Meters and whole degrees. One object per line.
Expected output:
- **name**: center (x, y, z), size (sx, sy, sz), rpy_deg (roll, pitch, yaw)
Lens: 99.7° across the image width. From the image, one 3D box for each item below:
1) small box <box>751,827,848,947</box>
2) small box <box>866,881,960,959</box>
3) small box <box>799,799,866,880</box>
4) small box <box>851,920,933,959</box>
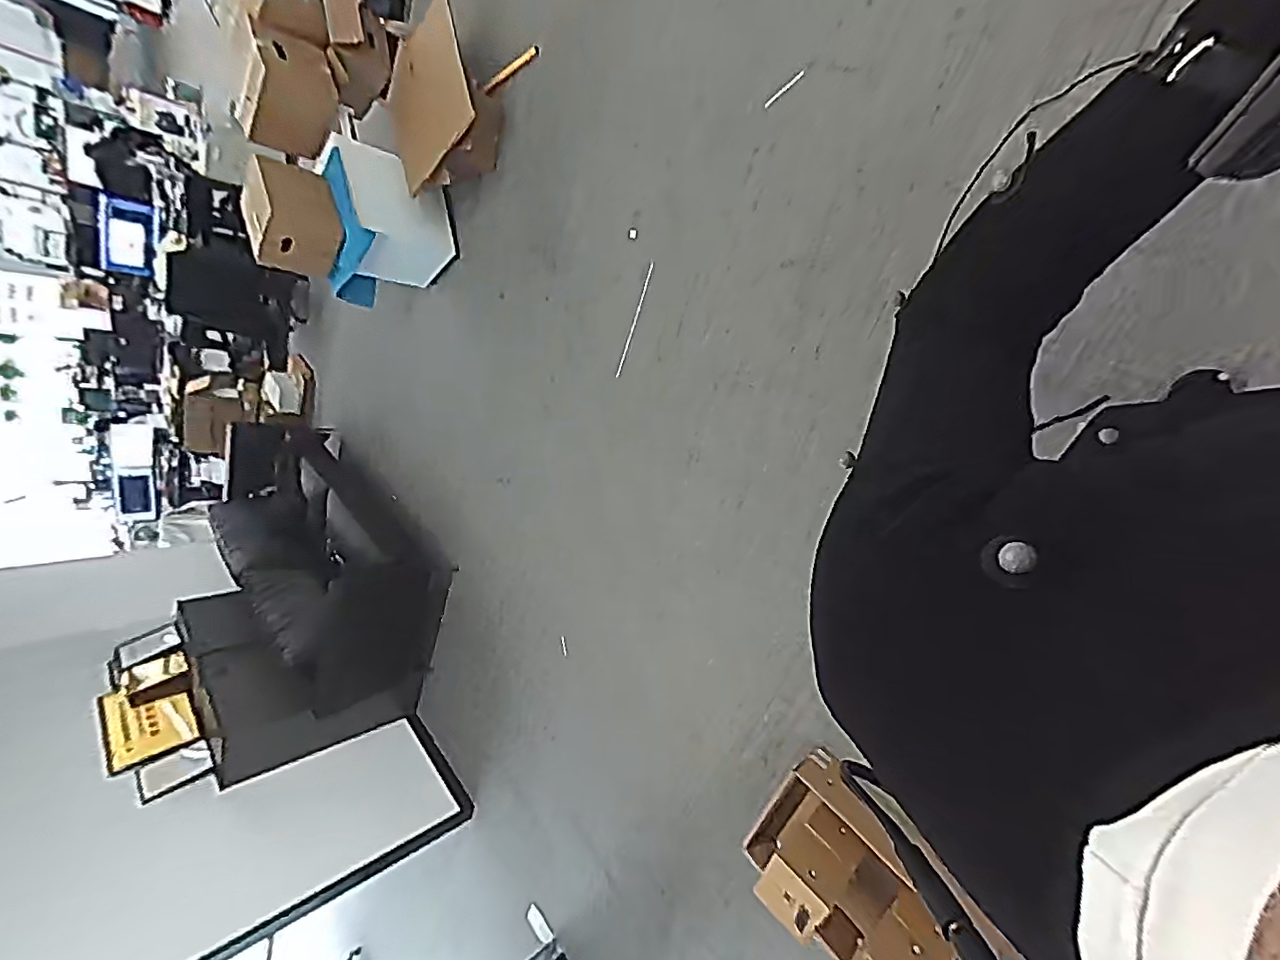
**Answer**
- **small box**: center (0.449, 1.125, 1.511), size (0.179, 0.176, 0.168), rpy_deg (34, 114, 35)
- **small box**: center (0.744, 1.257, 1.478), size (0.168, 0.176, 0.179), rpy_deg (38, 118, 34)
- **small box**: center (0.557, 1.116, 1.635), size (0.168, 0.176, 0.179), rpy_deg (38, 117, 33)
- **small box**: center (0.634, 1.263, 1.358), size (0.179, 0.176, 0.168), rpy_deg (37, 117, 35)
